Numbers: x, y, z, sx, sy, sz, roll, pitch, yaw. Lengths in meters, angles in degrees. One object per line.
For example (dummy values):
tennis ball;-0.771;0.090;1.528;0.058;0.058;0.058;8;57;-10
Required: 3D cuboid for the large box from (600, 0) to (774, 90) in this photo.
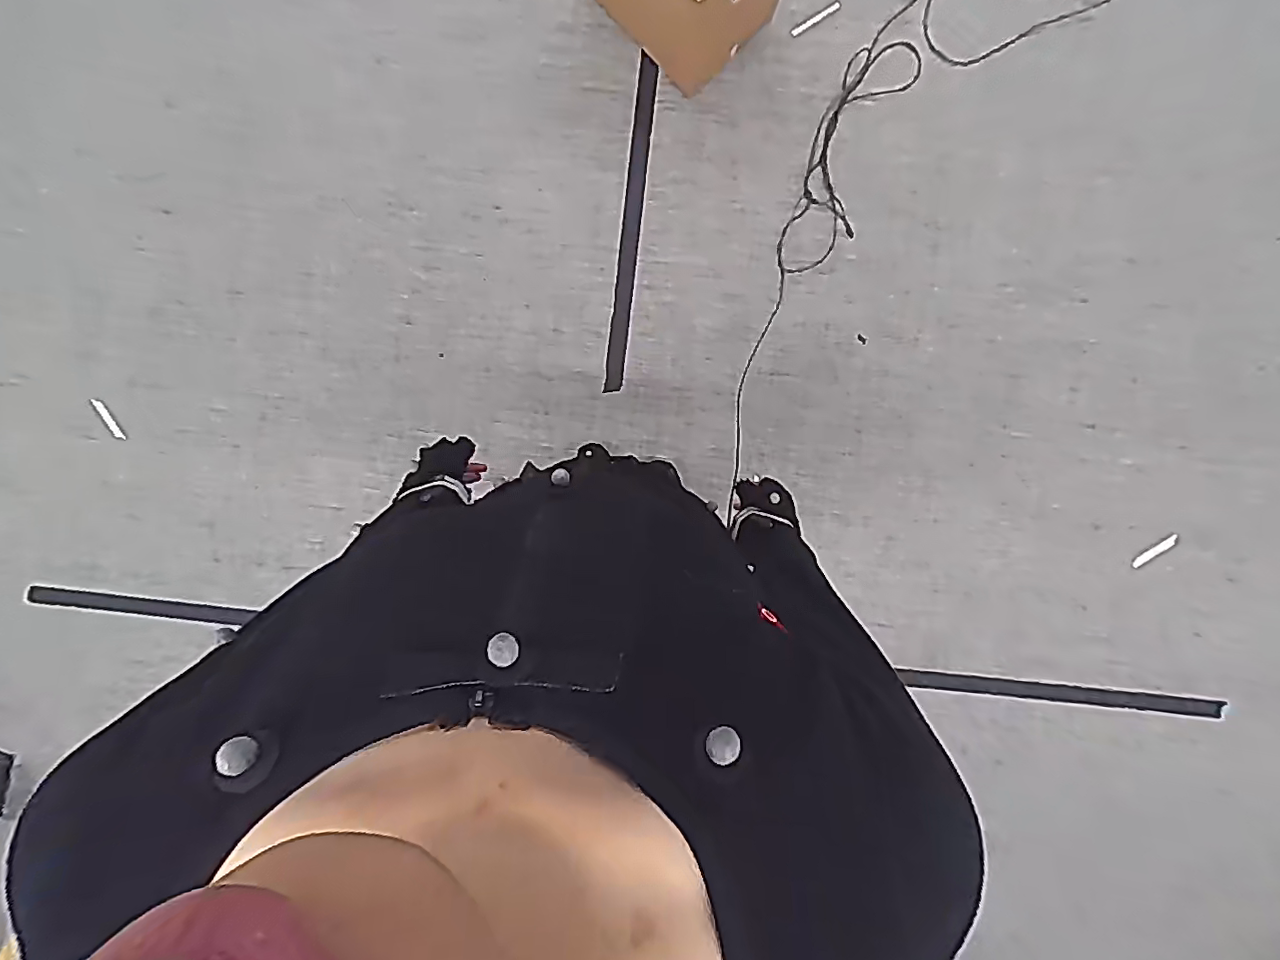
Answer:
large box;0.098;-1.255;1.262;0.320;0.320;0.408;-45;92;4
